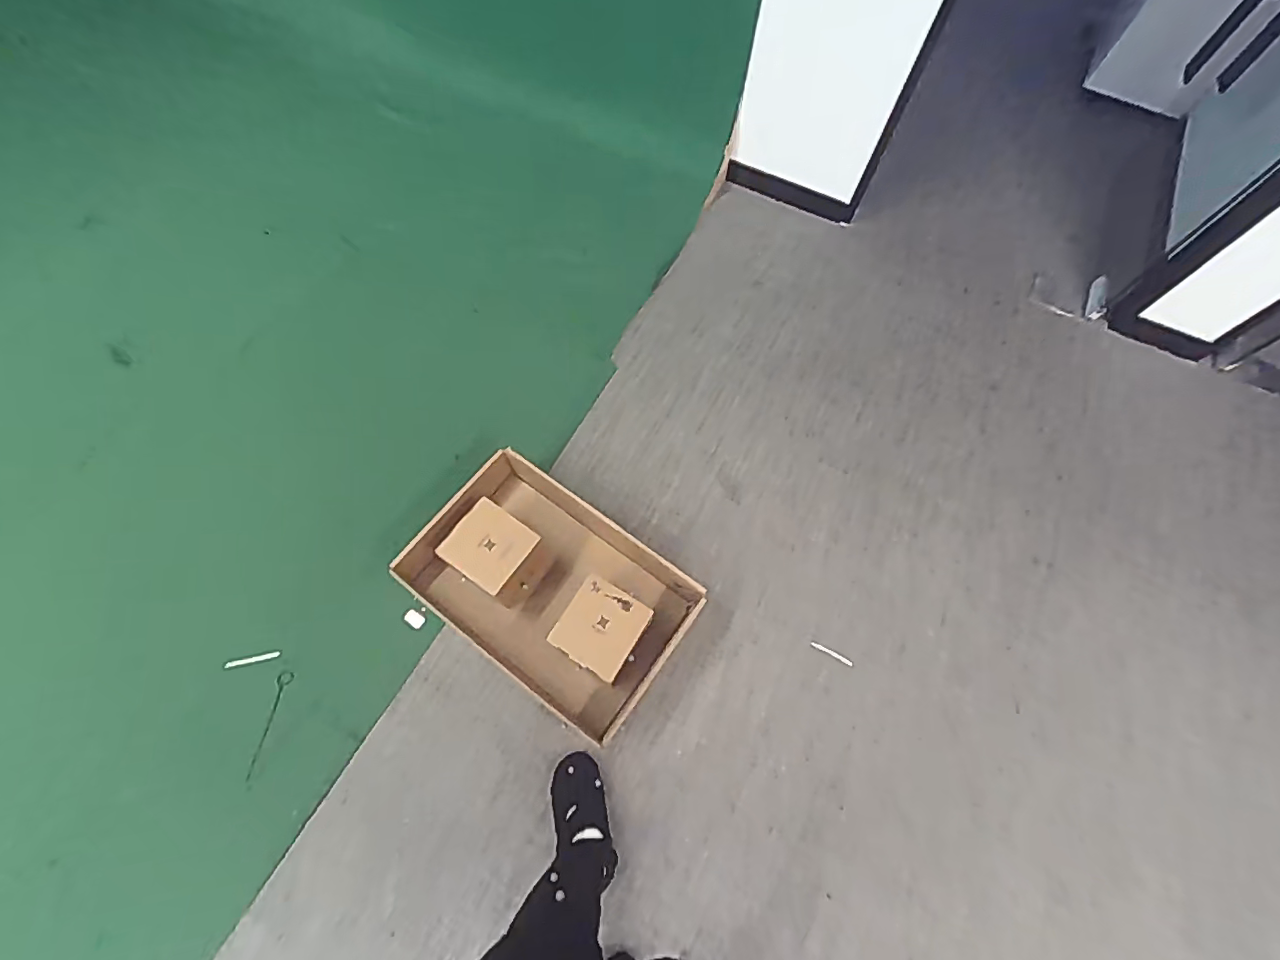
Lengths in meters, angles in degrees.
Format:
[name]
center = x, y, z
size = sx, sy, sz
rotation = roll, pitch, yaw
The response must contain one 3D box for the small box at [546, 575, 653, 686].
[small box]
center = -0.085, 0.346, 1.217
size = 0.168, 0.176, 0.179
rotation = 31, 70, 10
